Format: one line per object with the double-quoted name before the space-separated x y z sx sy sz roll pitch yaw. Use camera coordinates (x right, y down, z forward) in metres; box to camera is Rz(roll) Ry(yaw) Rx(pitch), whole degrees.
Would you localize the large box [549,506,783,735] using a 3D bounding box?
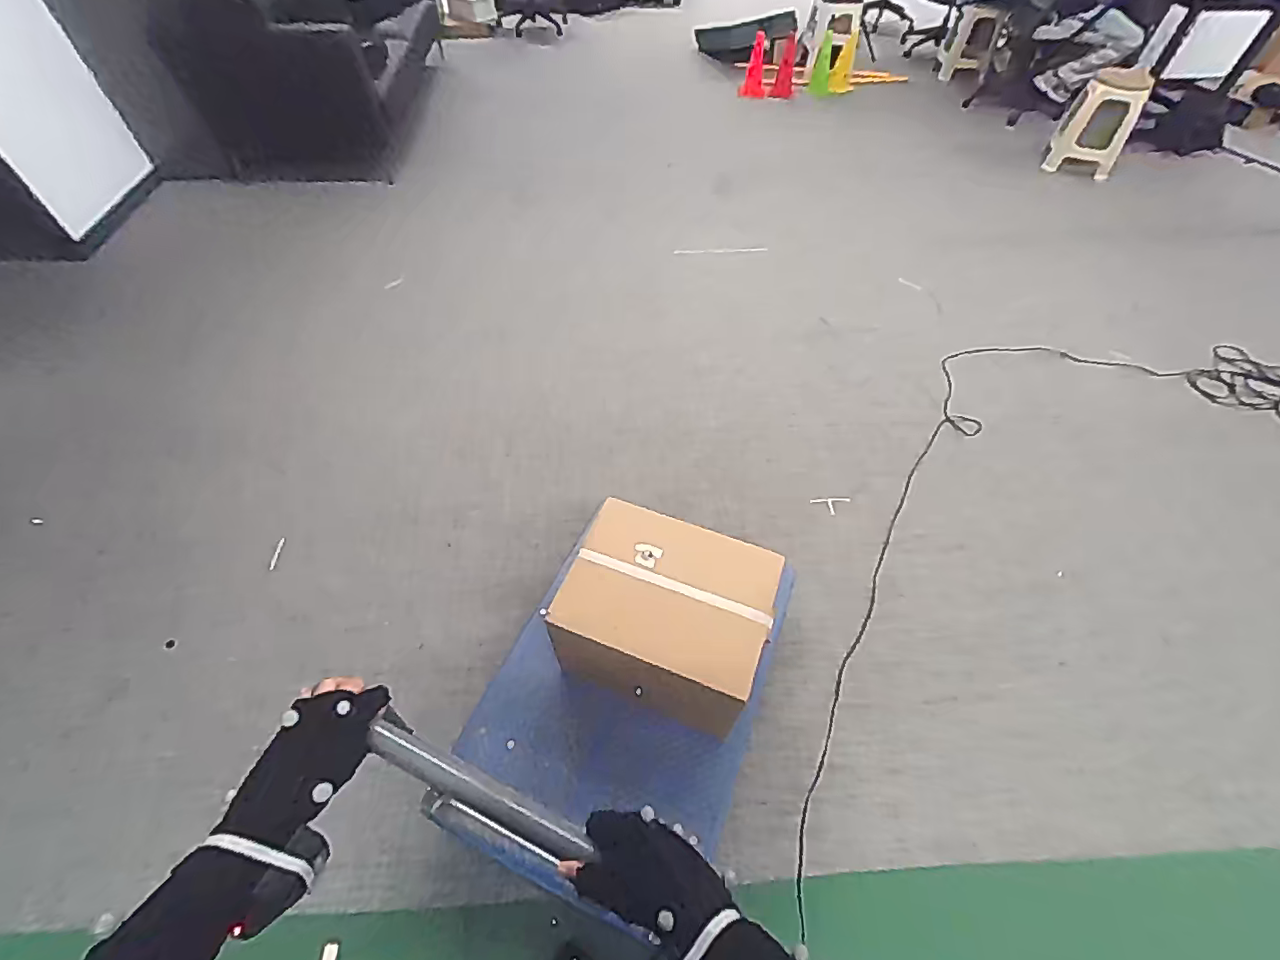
"large box" 0.065 0.312 1.195 0.408 0.320 0.320 17 54 13
